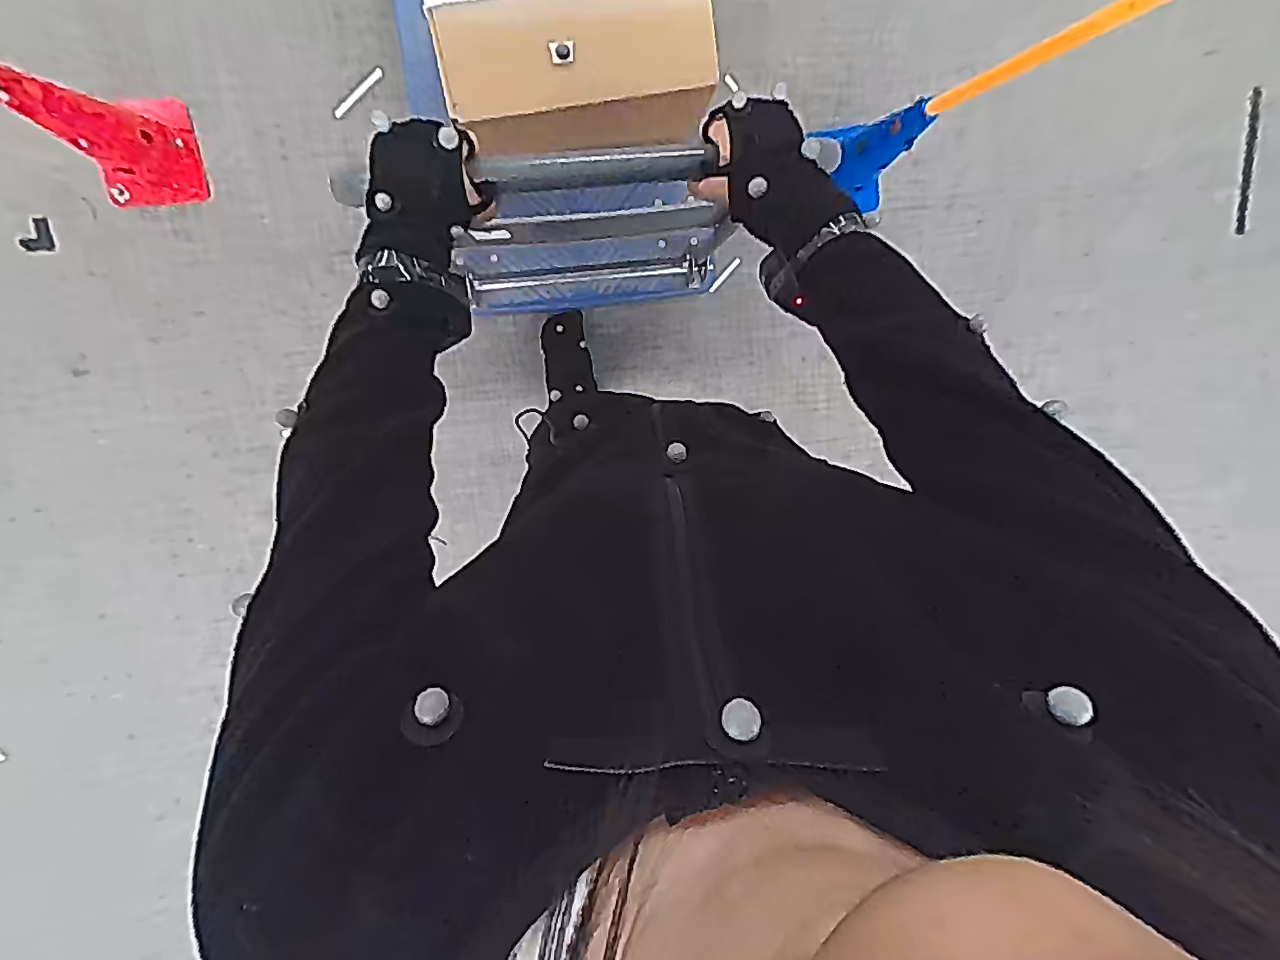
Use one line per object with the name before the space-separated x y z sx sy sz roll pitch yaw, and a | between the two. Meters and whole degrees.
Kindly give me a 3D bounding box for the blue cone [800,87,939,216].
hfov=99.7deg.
blue cone | 0.511 -0.724 1.168 0.193 0.380 0.192 -10 102 -5
